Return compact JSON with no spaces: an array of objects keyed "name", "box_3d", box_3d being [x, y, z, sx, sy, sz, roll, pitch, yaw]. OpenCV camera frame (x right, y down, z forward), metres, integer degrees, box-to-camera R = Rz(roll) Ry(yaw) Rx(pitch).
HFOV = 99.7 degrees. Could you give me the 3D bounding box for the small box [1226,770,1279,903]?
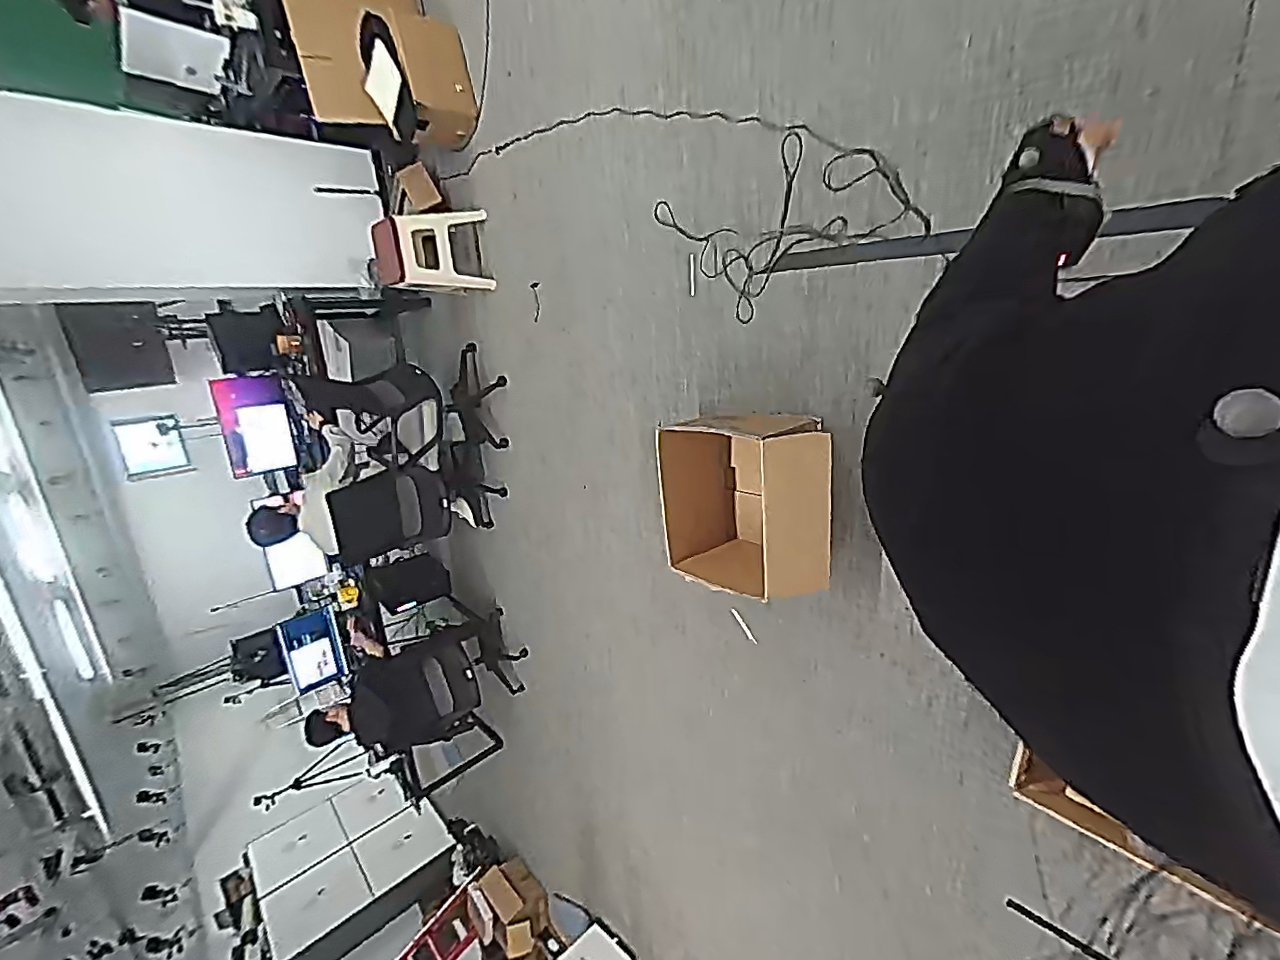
[{"name":"small box","box_3d":[1.250,0.689,1.008,0.179,0.176,0.168,20,116,45]}]
